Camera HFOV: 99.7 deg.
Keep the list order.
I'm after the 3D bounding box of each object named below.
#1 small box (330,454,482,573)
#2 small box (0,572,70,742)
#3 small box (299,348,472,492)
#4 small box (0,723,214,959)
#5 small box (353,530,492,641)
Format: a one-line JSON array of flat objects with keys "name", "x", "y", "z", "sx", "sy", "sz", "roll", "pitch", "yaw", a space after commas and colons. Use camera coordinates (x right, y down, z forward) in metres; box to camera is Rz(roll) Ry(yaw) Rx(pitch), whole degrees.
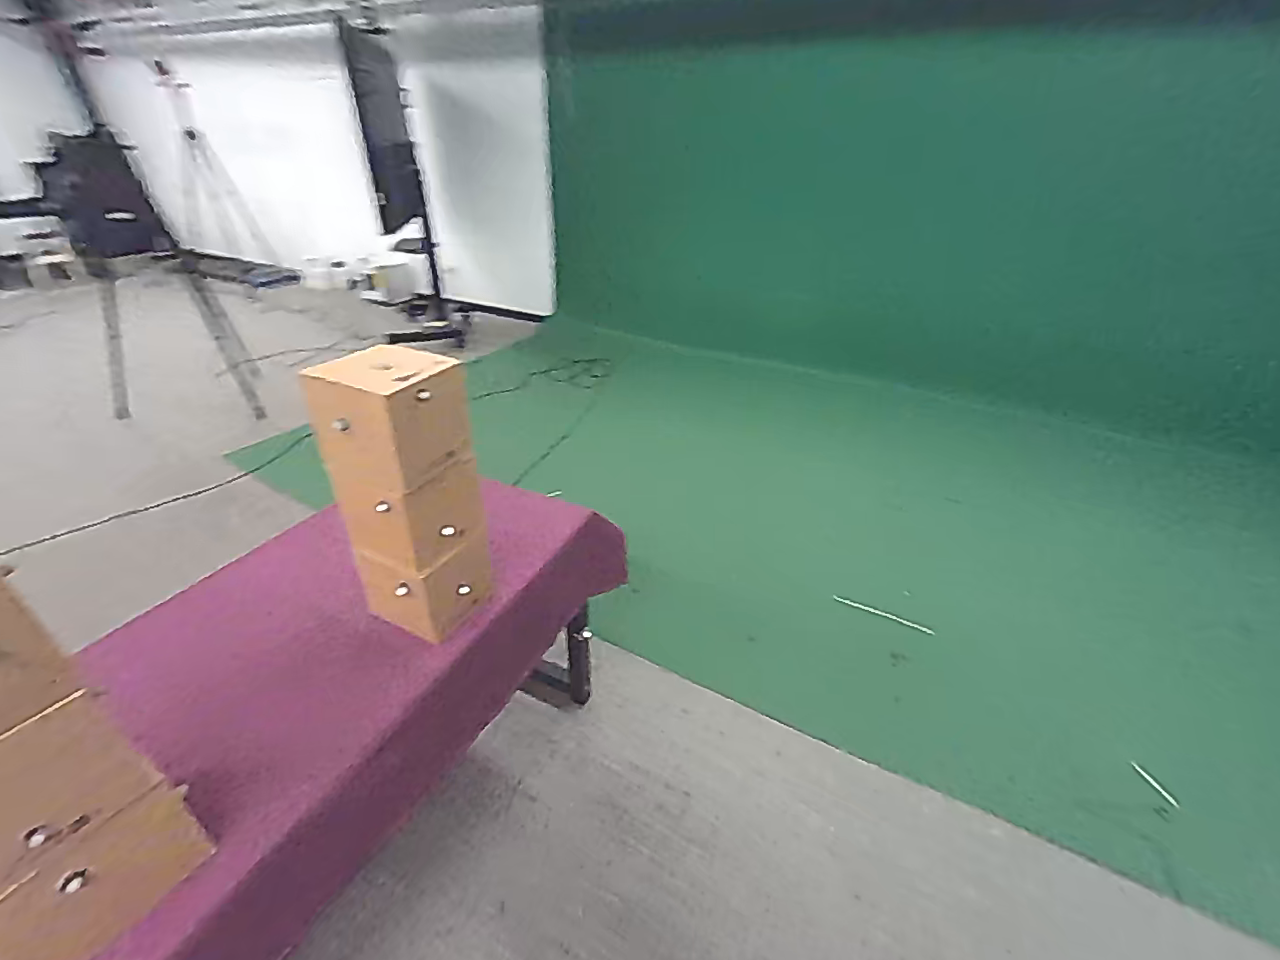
[{"name": "small box", "x": -0.408, "y": 0.039, "z": 0.966, "sx": 0.179, "sy": 0.176, "sz": 0.168, "roll": 17, "pitch": 35, "yaw": 21}, {"name": "small box", "x": -0.649, "y": 0.155, "z": 0.458, "sx": 0.168, "sy": 0.176, "sz": 0.179, "roll": 18, "pitch": 36, "yaw": 25}, {"name": "small box", "x": -0.400, "y": -0.100, "z": 0.878, "sx": 0.179, "sy": 0.176, "sz": 0.168, "roll": 14, "pitch": 34, "yaw": 19}, {"name": "small box", "x": -0.655, "y": 0.435, "z": 0.628, "sx": 0.168, "sy": 0.176, "sz": 0.179, "roll": 17, "pitch": 34, "yaw": 24}, {"name": "small box", "x": -0.408, "y": 0.182, "z": 1.045, "sx": 0.179, "sy": 0.176, "sz": 0.168, "roll": 16, "pitch": 34, "yaw": 22}]
